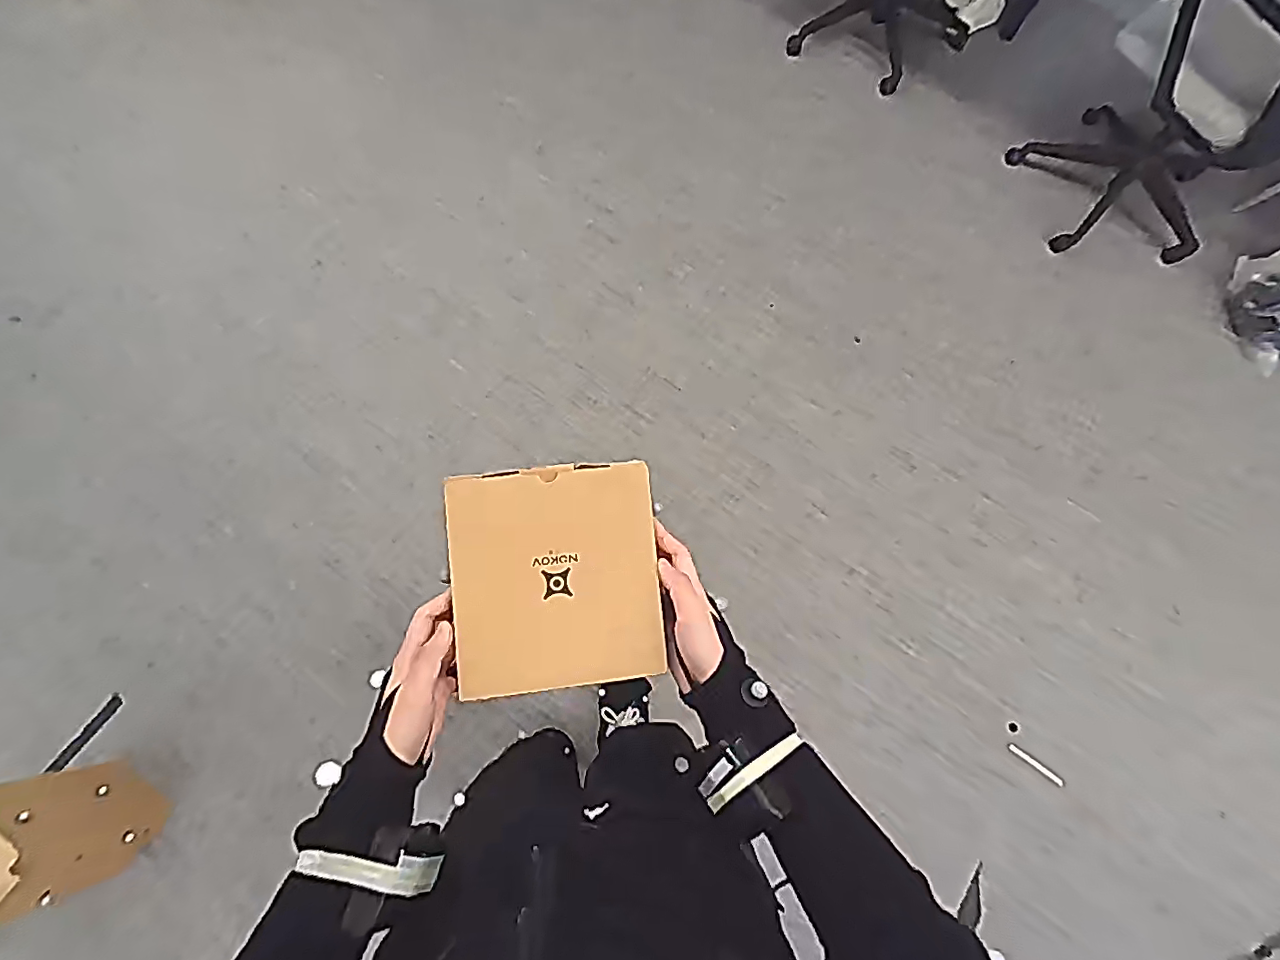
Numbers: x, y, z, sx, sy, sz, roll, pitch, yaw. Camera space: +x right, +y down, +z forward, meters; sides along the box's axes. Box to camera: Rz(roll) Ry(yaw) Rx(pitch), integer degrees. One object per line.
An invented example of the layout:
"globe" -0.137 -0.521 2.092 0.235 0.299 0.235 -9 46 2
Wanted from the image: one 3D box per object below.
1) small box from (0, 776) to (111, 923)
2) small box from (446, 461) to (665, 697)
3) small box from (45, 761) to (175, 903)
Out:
"small box" -1.141 0.669 0.978 0.179 0.176 0.168 31 74 8
"small box" -0.075 0.082 0.512 0.168 0.176 0.179 -6 85 -7
"small box" -1.150 0.721 1.135 0.179 0.176 0.168 30 74 8
